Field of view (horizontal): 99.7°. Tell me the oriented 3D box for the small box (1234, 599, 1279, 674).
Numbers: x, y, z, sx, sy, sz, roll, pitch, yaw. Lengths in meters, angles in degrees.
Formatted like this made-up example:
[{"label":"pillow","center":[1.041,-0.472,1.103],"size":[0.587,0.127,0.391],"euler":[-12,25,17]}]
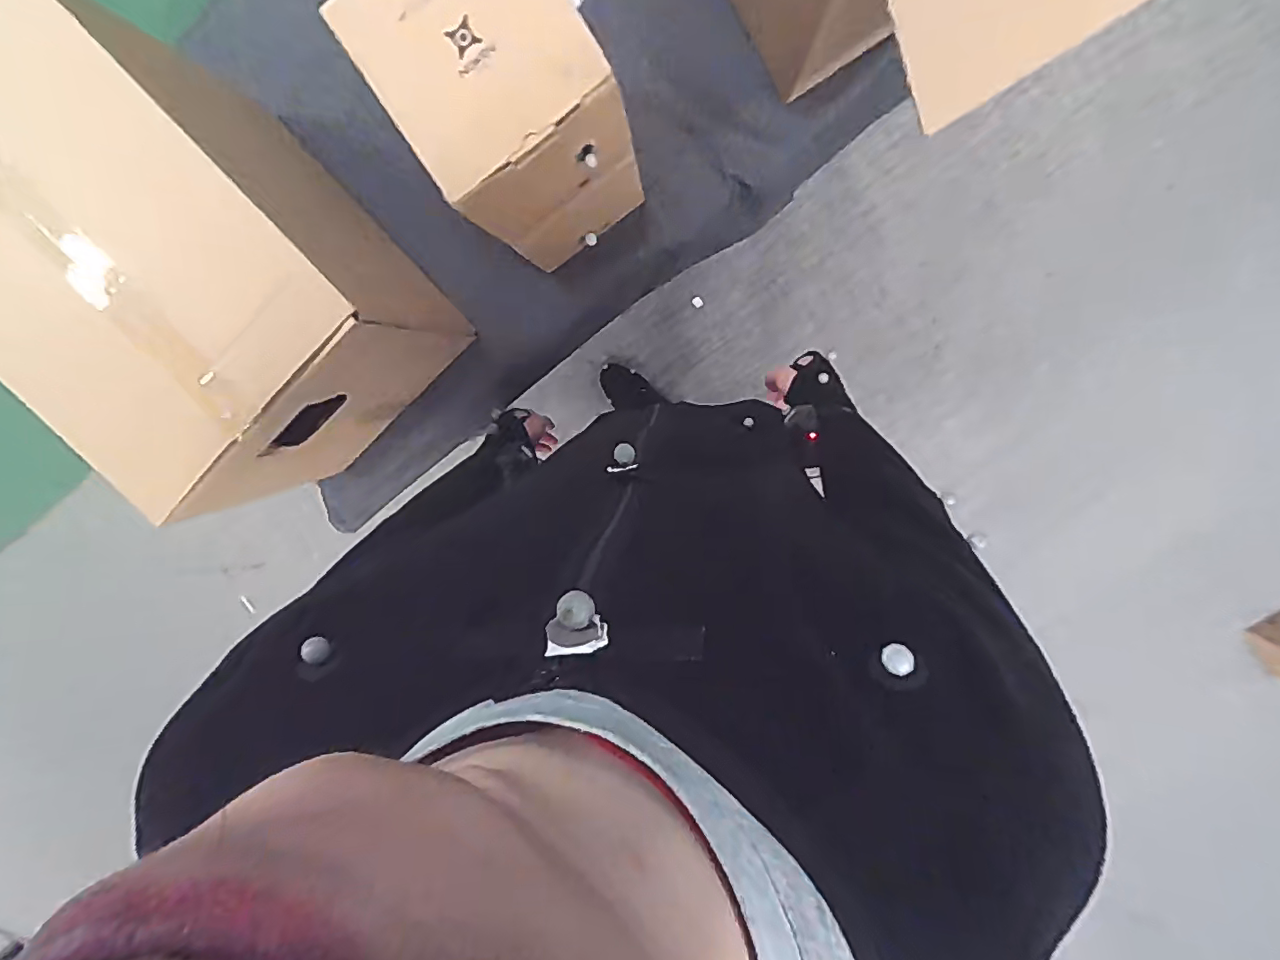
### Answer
[{"label":"small box","center":[1.807,0.445,1.473],"size":[0.168,0.176,0.179],"euler":[-37,98,11]}]
